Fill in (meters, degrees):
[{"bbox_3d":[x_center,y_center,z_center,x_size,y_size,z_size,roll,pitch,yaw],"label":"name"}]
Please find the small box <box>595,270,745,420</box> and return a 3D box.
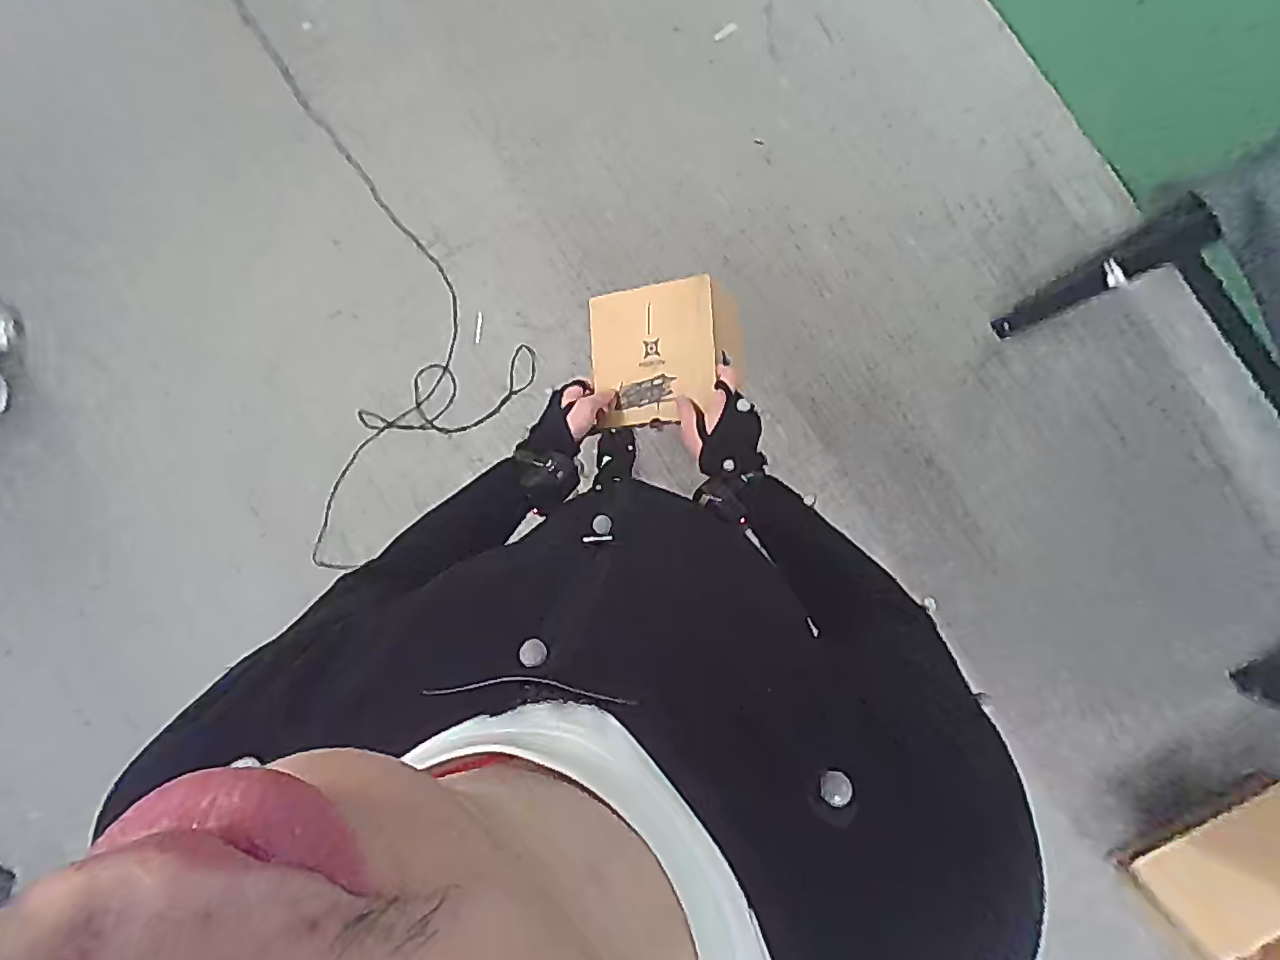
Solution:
[{"bbox_3d":[0.051,-0.180,0.765,0.168,0.176,0.179,-1,97,22],"label":"small box"}]
